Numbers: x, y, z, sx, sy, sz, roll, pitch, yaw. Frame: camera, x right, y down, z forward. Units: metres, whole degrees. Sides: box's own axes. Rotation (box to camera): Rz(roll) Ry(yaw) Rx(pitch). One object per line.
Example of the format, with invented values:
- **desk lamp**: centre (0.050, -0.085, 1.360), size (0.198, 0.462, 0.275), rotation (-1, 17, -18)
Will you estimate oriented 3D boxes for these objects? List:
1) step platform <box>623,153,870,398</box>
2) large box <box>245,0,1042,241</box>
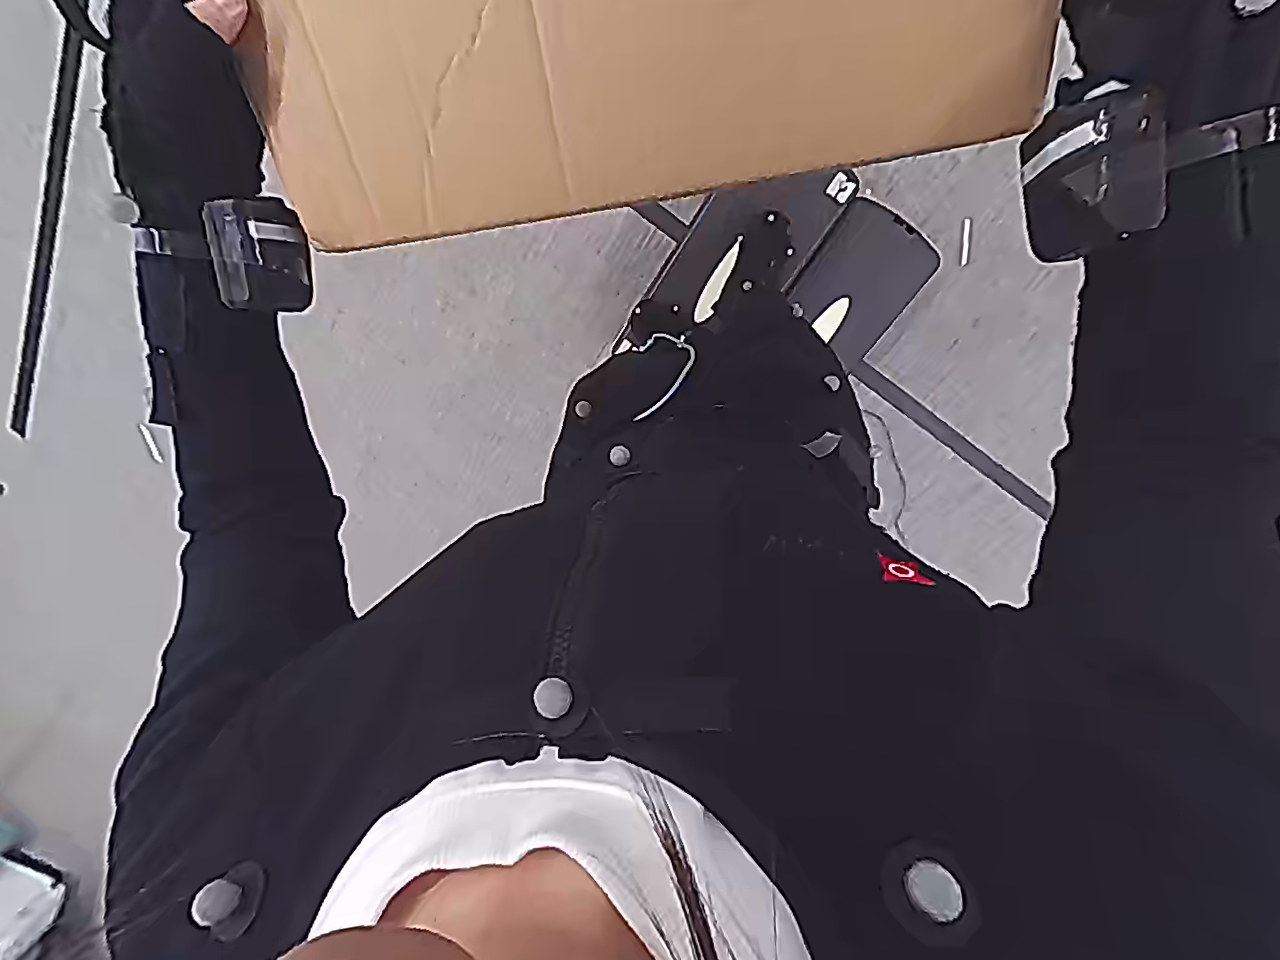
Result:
- **step platform**: centre (0.238, -0.546, 1.348), size (0.286, 0.204, 0.684), rotation (32, 111, -8)
- **large box**: centre (-0.006, -0.373, 0.372), size (0.408, 0.320, 0.320), rotation (-5, 118, 9)
